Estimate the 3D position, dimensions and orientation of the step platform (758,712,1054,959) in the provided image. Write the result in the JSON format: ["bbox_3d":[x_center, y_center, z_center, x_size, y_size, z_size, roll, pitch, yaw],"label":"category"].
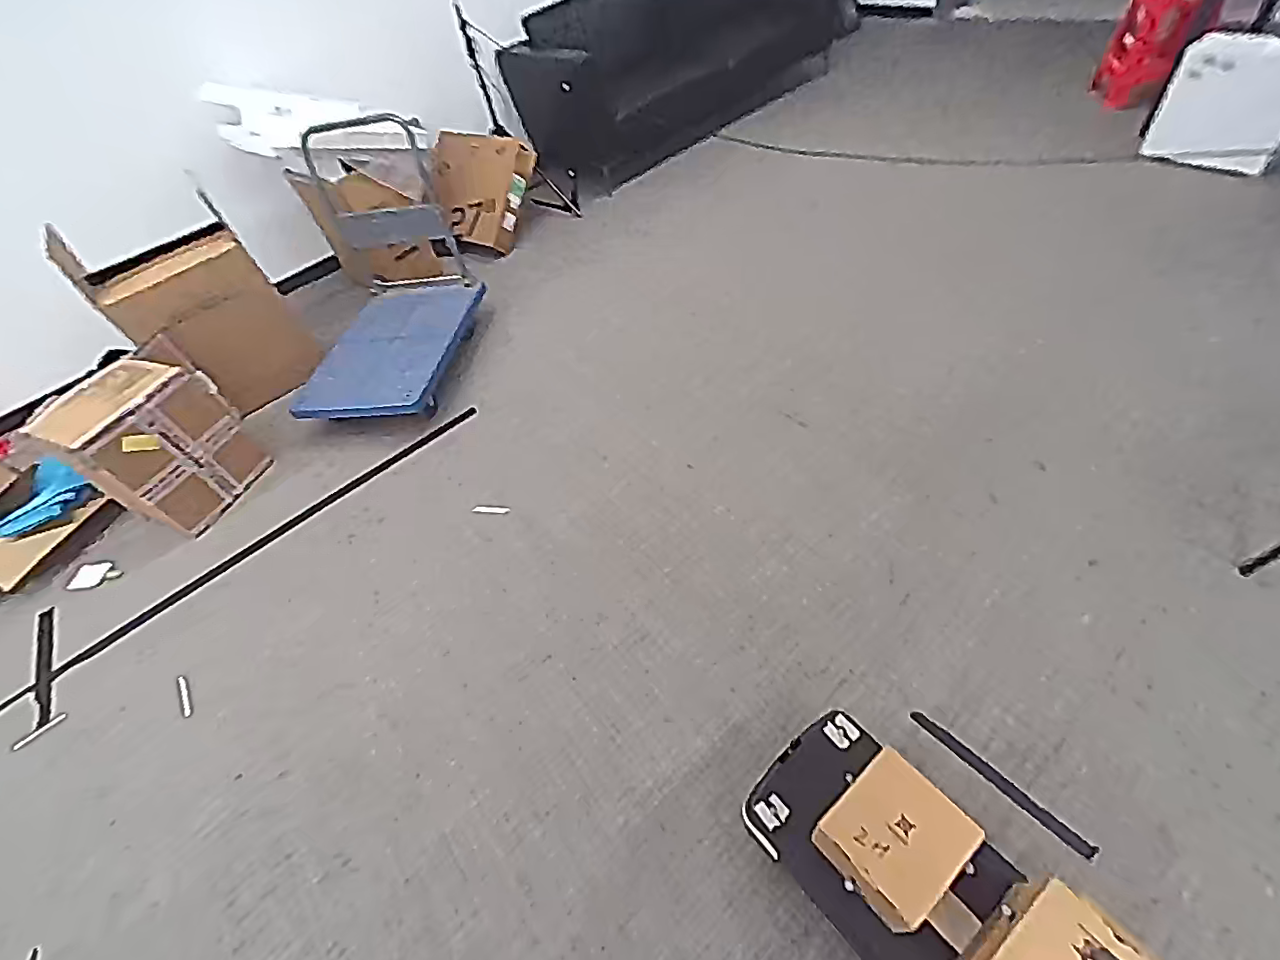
[{"bbox_3d":[0.533,0.748,0.921,0.286,0.204,0.684,-37,51,-18],"label":"step platform"}]

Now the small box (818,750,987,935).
[{"bbox_3d":[0.403,0.577,0.865,0.179,0.176,0.168,-36,51,-17],"label":"small box"}]

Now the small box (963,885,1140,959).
[{"bbox_3d":[0.567,0.692,0.729,0.179,0.176,0.168,-36,51,-16],"label":"small box"}]
